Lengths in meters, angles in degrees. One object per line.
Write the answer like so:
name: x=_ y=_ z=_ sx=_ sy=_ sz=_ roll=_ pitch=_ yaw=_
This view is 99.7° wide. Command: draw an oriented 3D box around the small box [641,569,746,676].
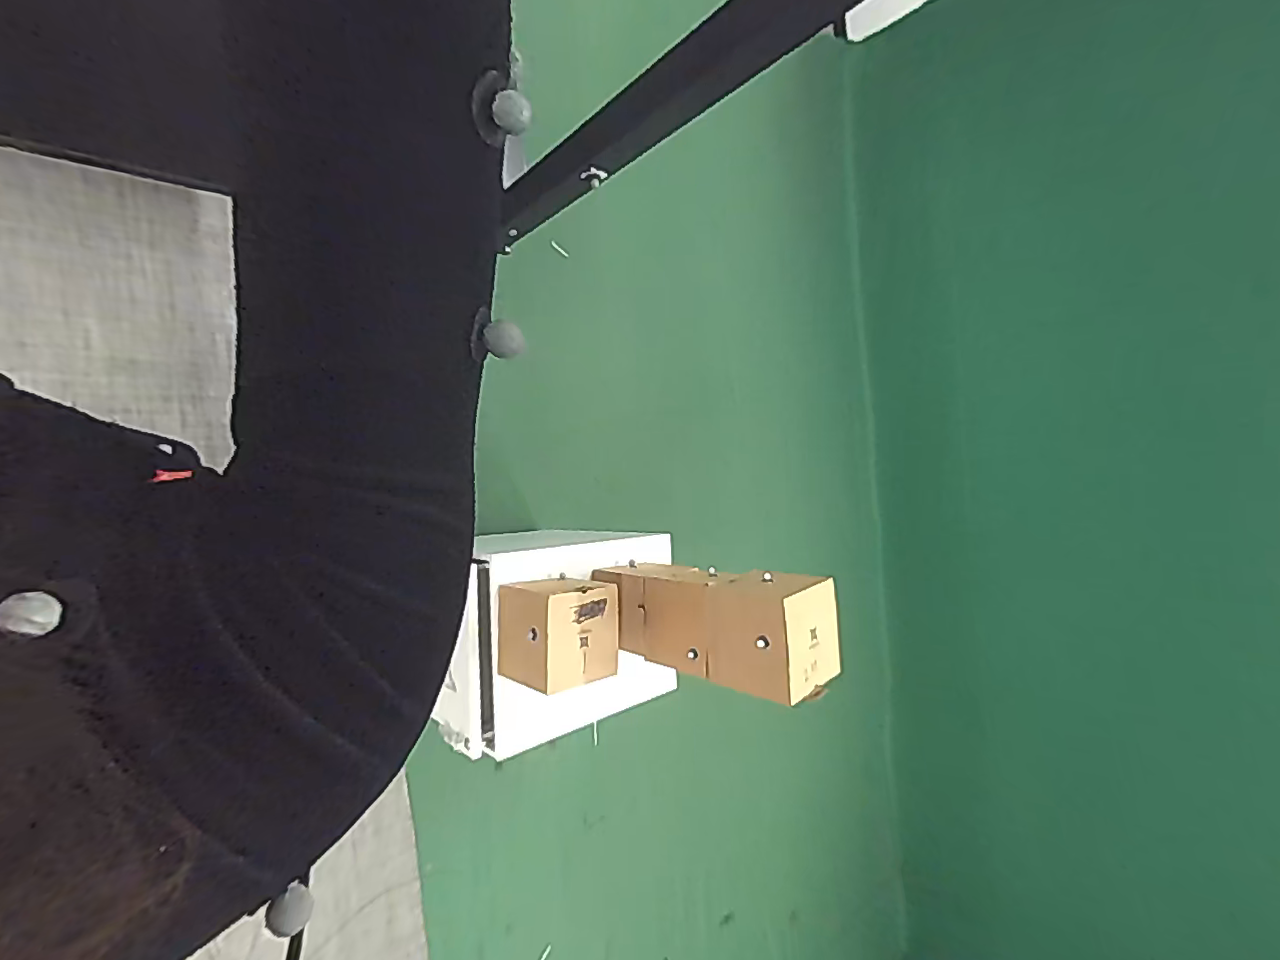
small box: x=0.115 y=0.272 z=1.084 sx=0.168 sy=0.176 sz=0.179 roll=4 pitch=87 yaw=-44

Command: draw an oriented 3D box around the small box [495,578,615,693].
small box: x=-0.164 y=0.283 z=1.035 sx=0.168 sy=0.176 sz=0.179 roll=3 pitch=87 yaw=-45

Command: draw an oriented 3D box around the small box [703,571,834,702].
small box: x=0.226 y=0.263 z=0.962 sx=0.168 sy=0.176 sz=0.179 roll=-6 pitch=94 yaw=-43
